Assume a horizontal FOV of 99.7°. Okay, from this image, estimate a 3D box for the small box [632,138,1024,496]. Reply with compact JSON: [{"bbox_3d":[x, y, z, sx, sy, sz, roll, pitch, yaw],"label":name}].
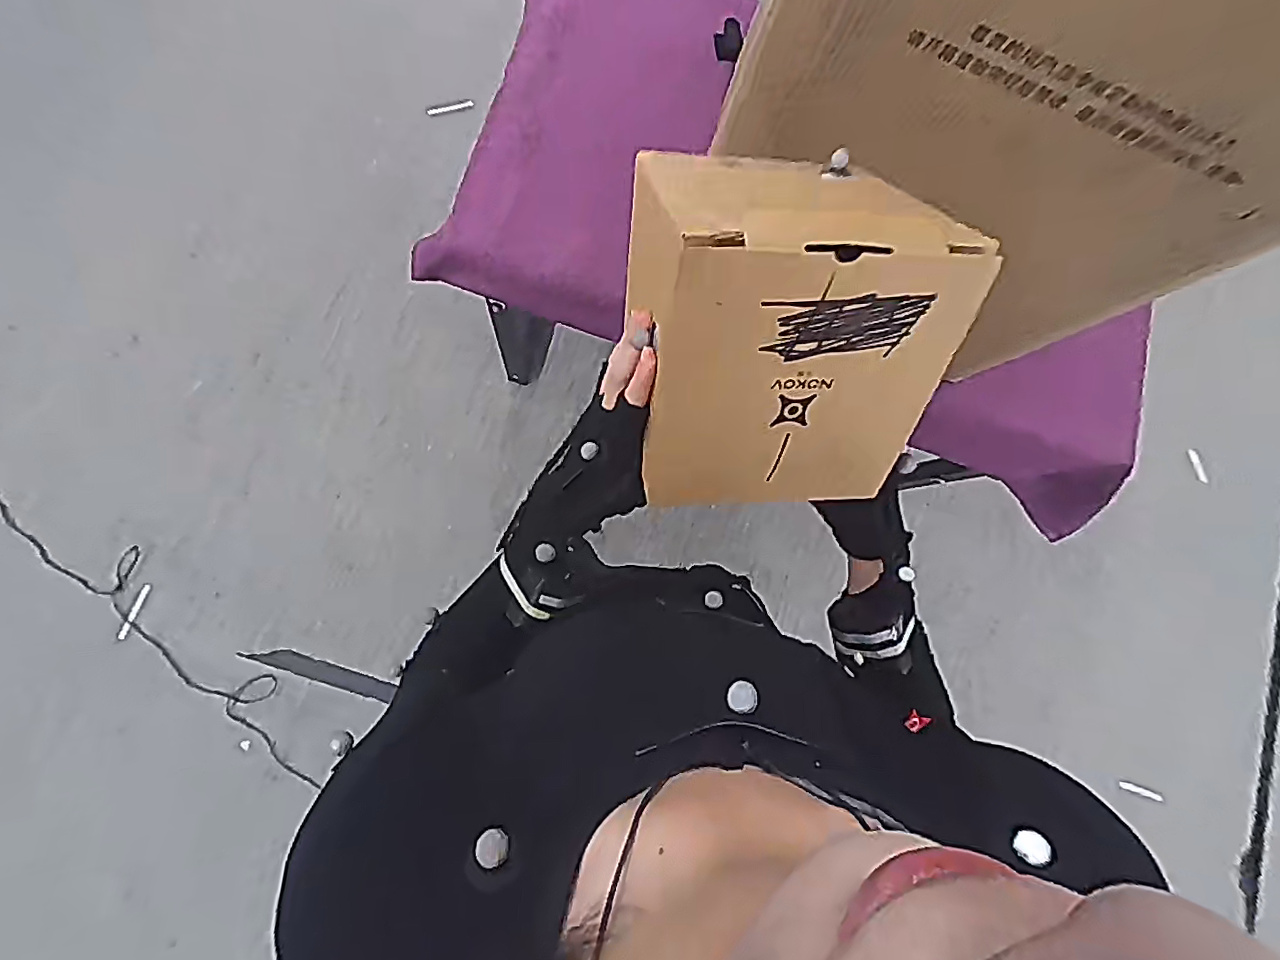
[{"bbox_3d":[0.088,-0.110,0.359,0.168,0.179,0.176,-1,43,-8],"label":"small box"}]
